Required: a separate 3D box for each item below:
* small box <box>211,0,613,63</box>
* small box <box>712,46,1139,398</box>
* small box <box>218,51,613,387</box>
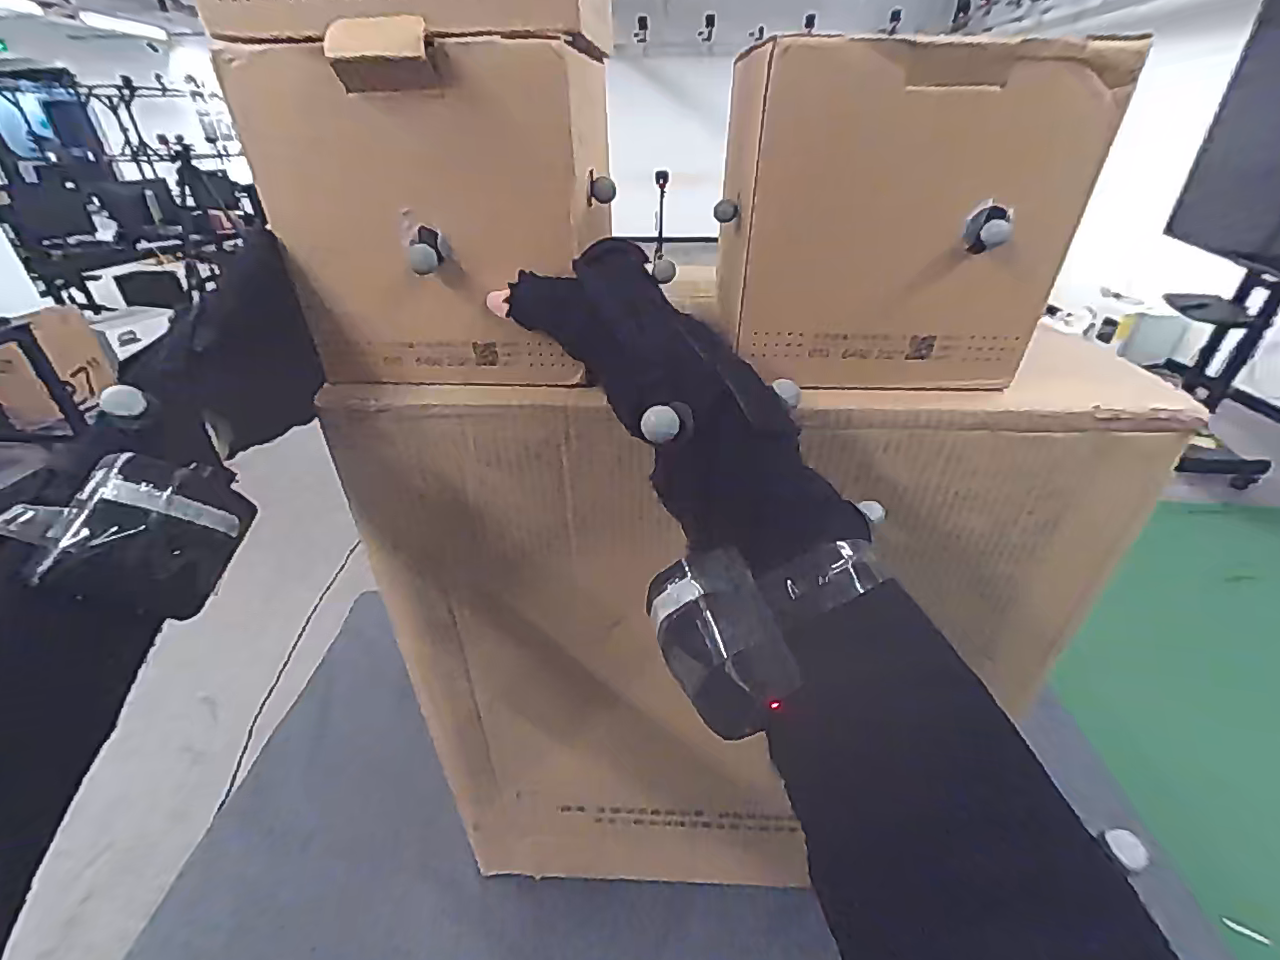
[{"bbox_3d":[-0.108,-0.311,0.269,0.179,0.176,0.168,1,34,3],"label":"small box"},{"bbox_3d":[0.139,-0.162,0.348,0.168,0.176,0.179,3,33,1],"label":"small box"},{"bbox_3d":[-0.109,-0.171,0.358,0.168,0.176,0.179,2,36,3],"label":"small box"}]
